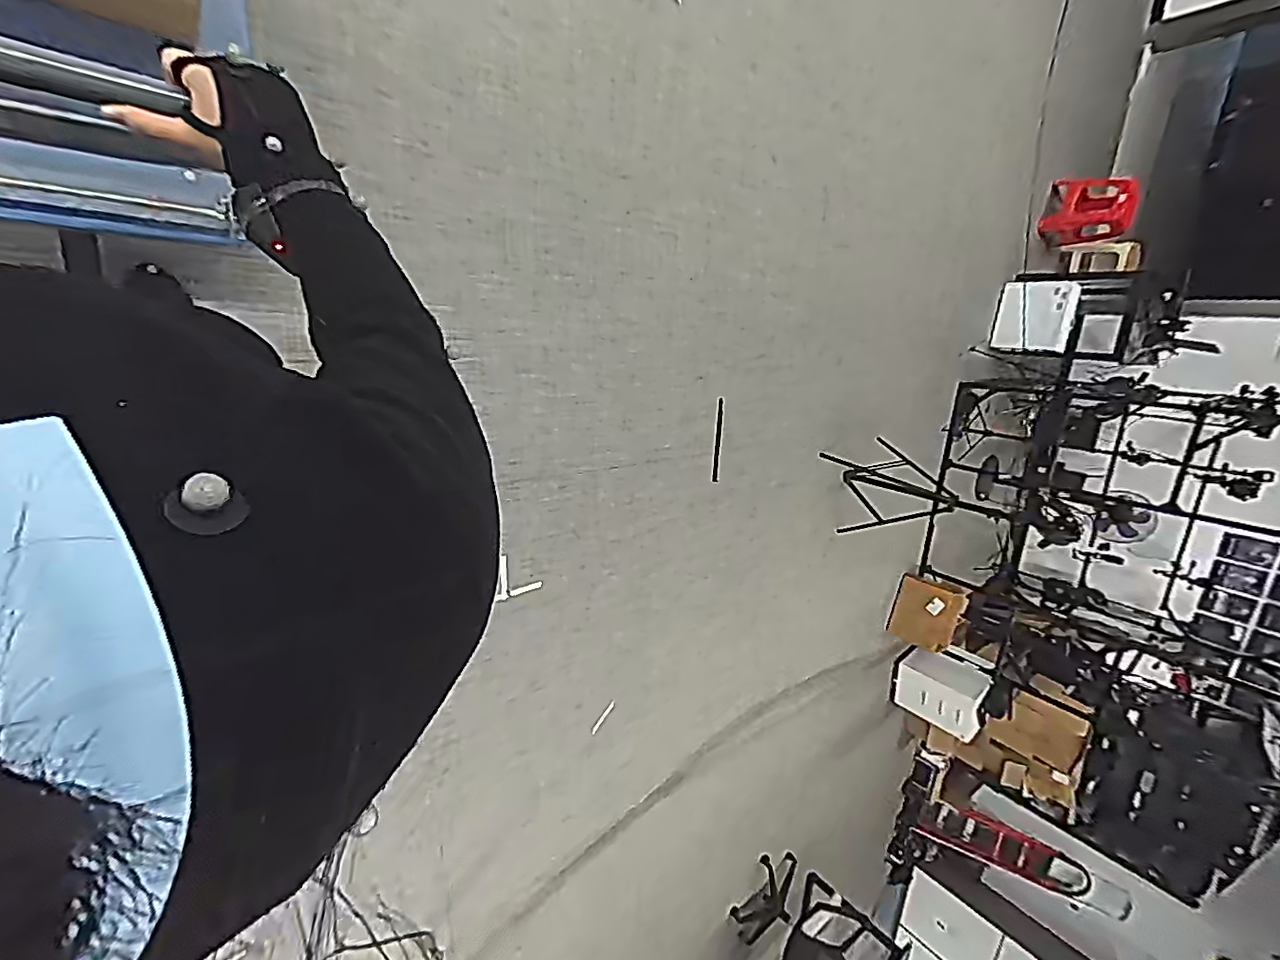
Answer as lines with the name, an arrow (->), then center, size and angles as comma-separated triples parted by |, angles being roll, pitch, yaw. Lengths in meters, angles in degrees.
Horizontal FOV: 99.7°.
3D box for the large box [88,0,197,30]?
large box -> -0.810, -0.842, 0.650 | 0.408, 0.320, 0.320 | -7, 109, -39
